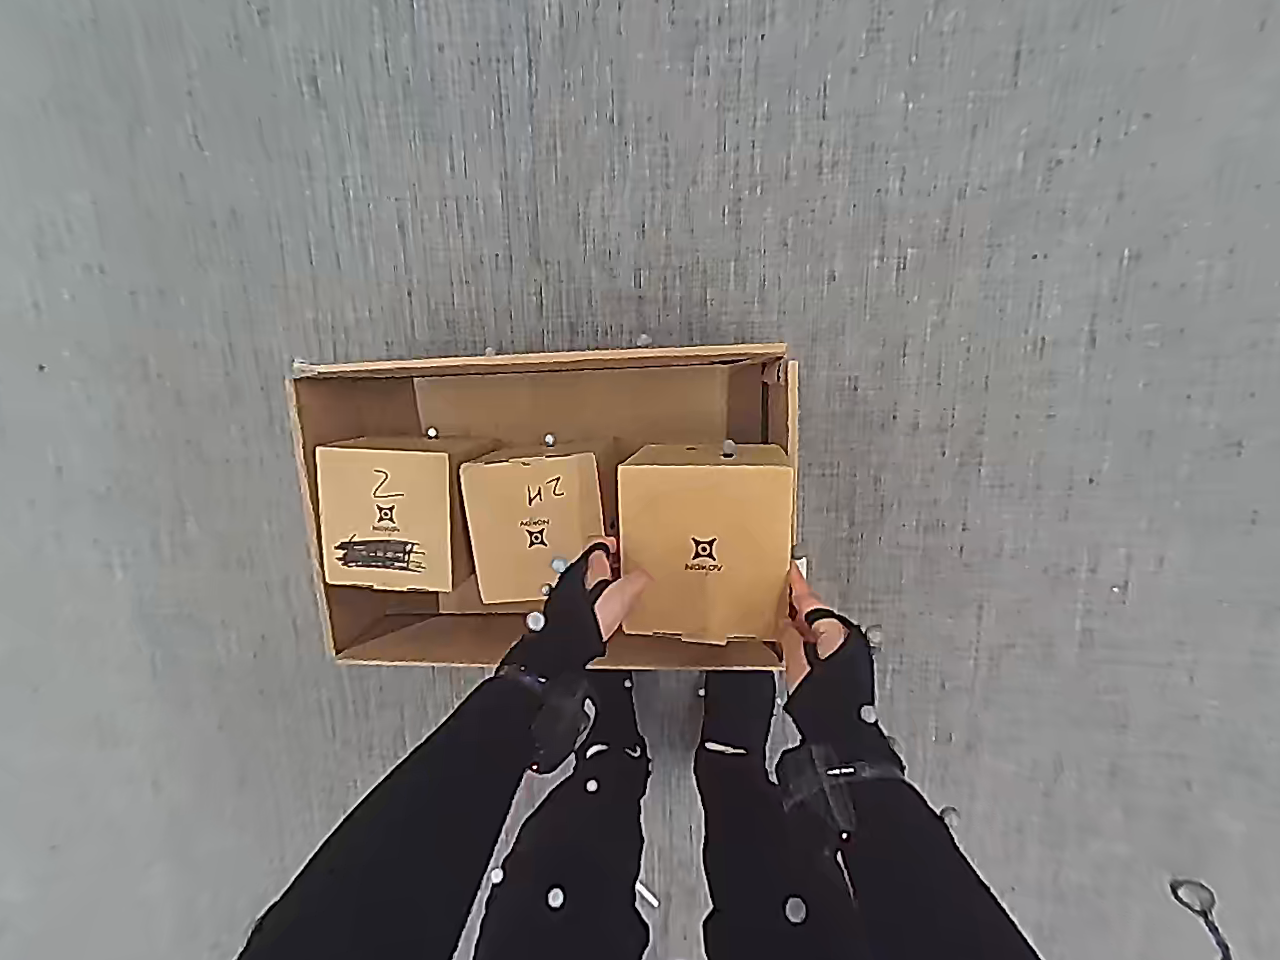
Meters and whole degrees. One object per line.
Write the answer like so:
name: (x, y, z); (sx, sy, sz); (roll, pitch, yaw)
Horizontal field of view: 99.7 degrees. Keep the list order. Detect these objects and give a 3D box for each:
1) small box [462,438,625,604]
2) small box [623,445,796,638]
small box: (-0.113, 0.046, 0.717); (0.168, 0.176, 0.179); (-6, 100, 5)
small box: (0.076, 0.054, 0.599); (0.168, 0.176, 0.179); (-1, 102, 9)
